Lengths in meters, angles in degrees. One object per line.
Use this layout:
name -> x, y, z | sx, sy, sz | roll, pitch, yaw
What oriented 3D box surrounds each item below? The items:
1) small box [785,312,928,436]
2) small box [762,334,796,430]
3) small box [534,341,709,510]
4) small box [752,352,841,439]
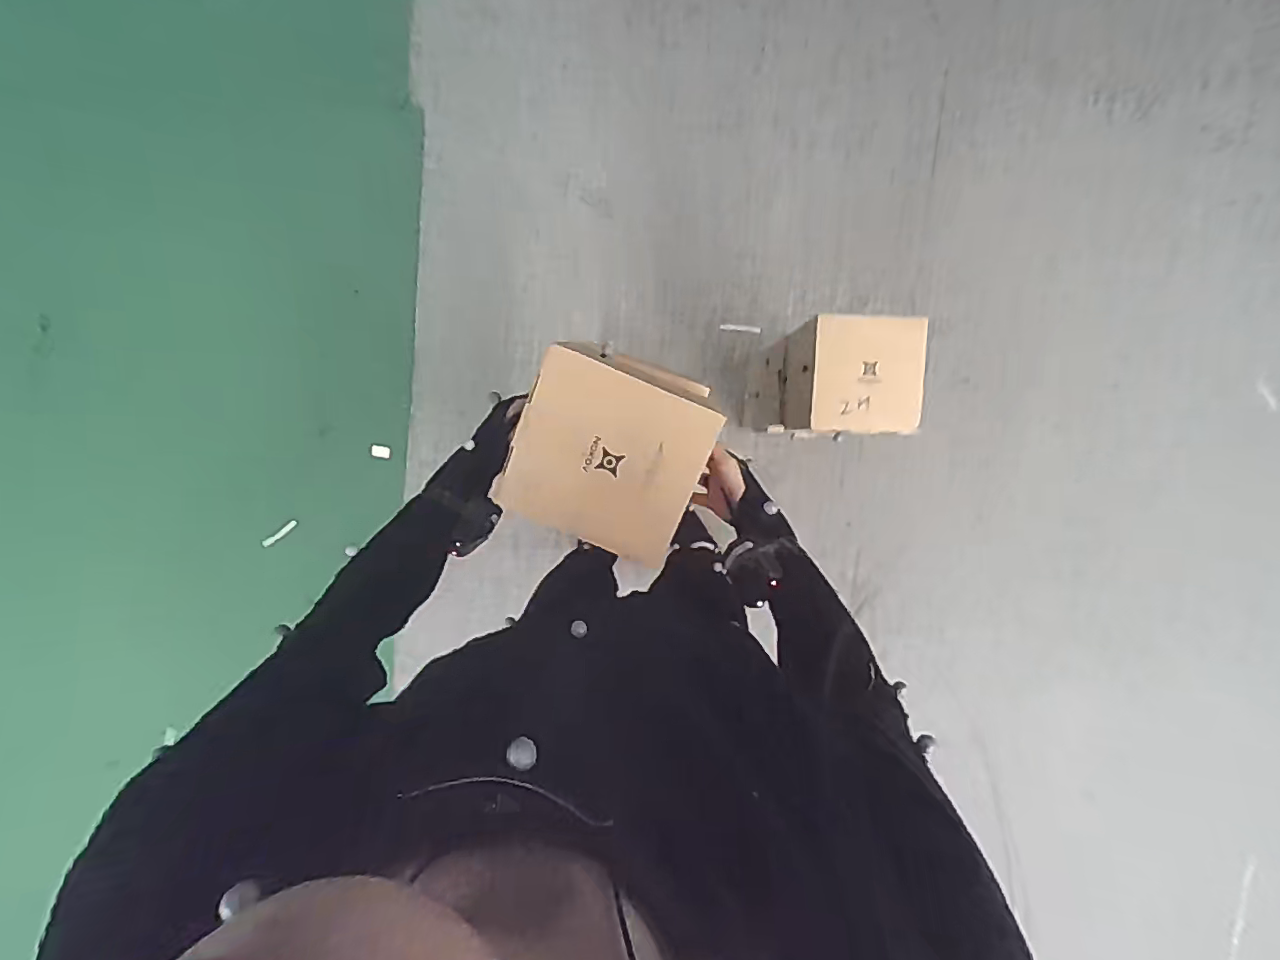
small box -> 0.341, -0.164, 0.884 | 0.168, 0.176, 0.179 | 3, 95, 2
small box -> 0.342, -0.179, 1.047 | 0.179, 0.176, 0.168 | 4, 95, 0
small box -> -0.021, -0.082, 0.728 | 0.179, 0.176, 0.168 | 19, 103, -2
small box -> 0.352, -0.187, 1.211 | 0.168, 0.176, 0.179 | 4, 96, 0
